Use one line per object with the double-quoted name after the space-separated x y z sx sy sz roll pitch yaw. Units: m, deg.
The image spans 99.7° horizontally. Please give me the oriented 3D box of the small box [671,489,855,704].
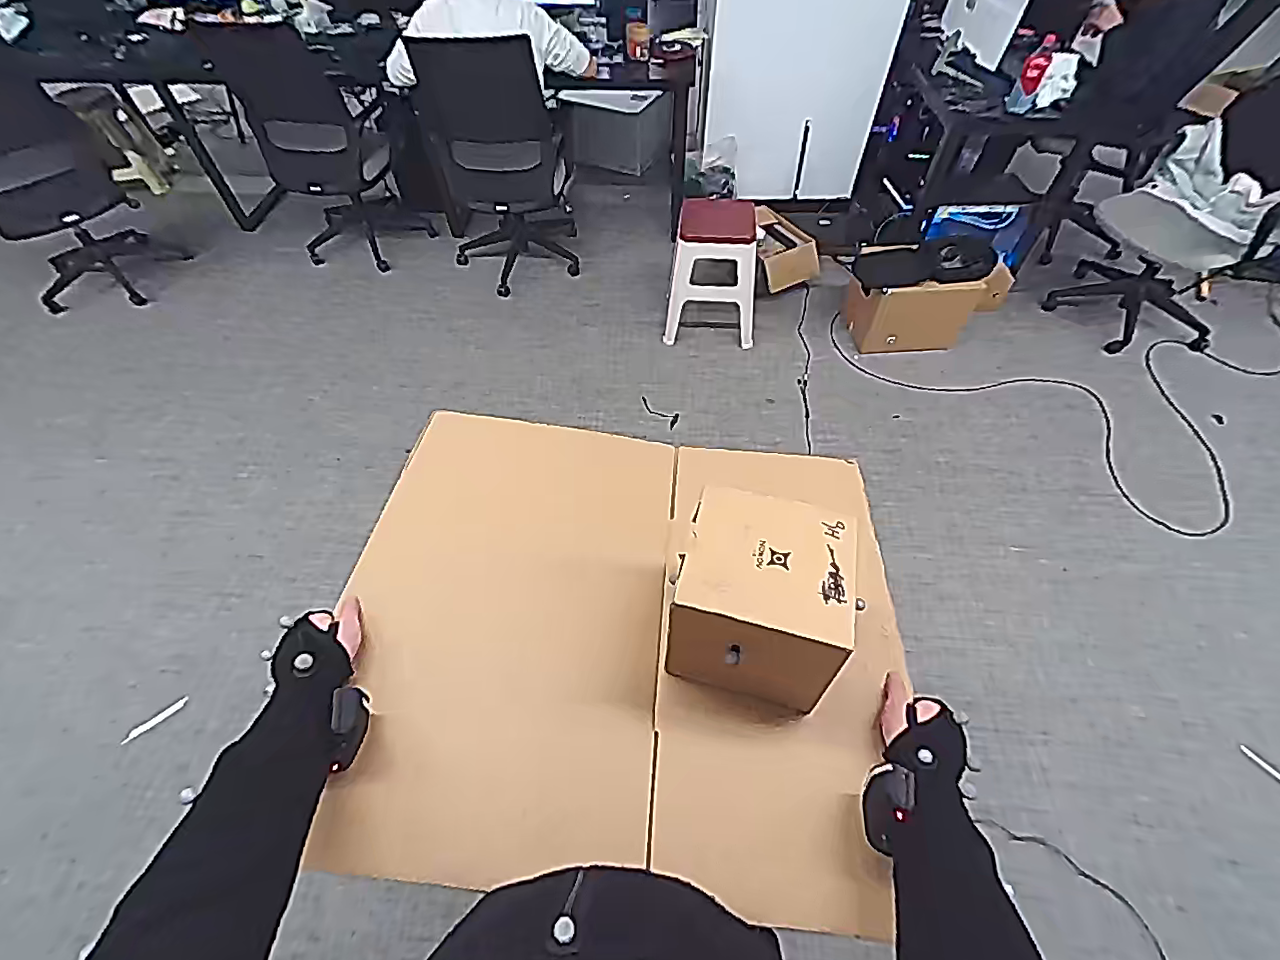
0.137 0.138 0.631 0.179 0.176 0.168 12 49 11 "small box"
